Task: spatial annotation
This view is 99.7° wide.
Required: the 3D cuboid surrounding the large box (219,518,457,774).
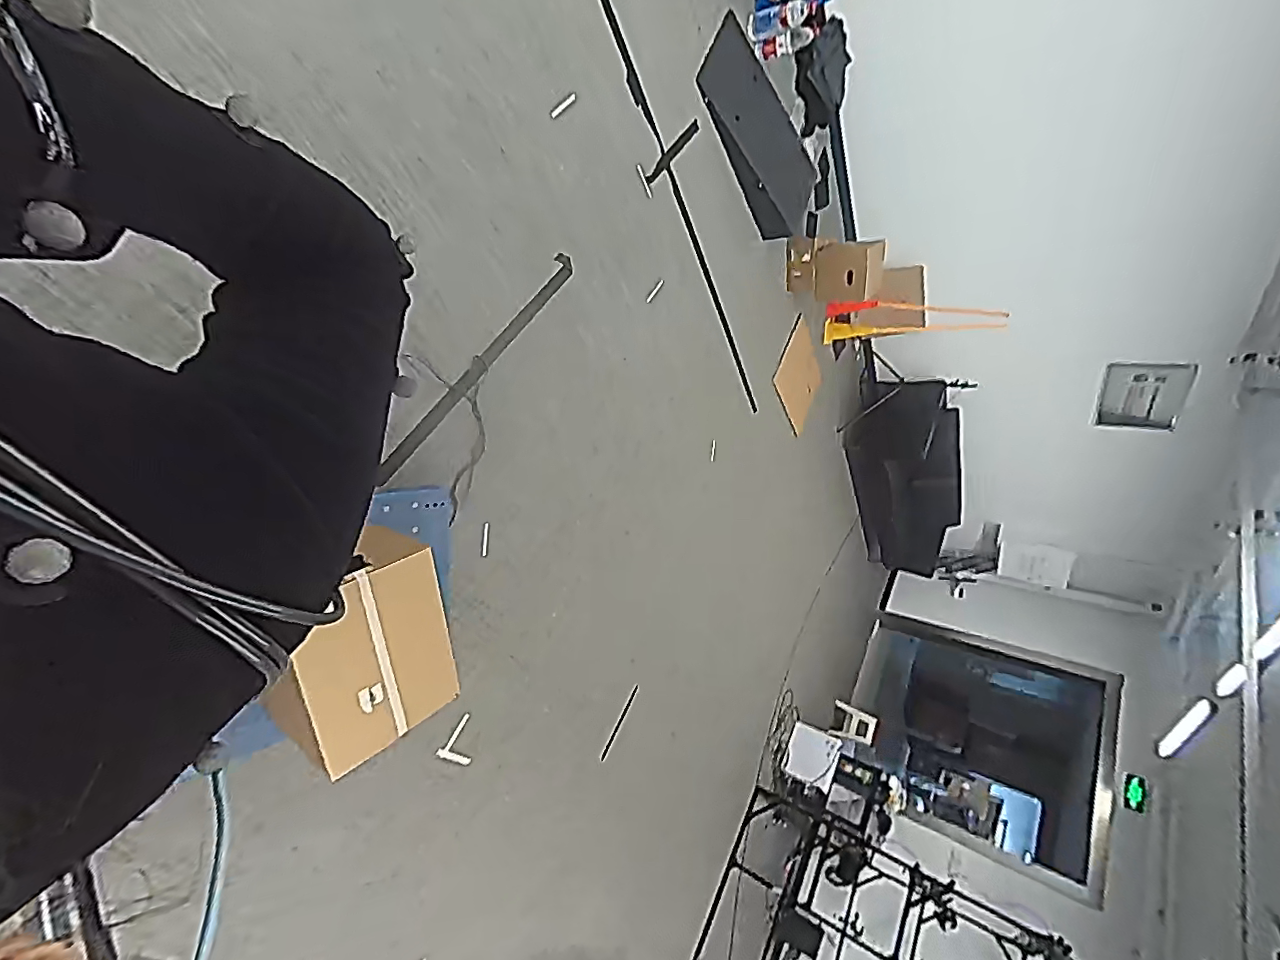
[{"bbox_3d":[-0.668,0.347,1.227,0.320,0.320,0.408,-25,119,-47],"label":"large box"}]
